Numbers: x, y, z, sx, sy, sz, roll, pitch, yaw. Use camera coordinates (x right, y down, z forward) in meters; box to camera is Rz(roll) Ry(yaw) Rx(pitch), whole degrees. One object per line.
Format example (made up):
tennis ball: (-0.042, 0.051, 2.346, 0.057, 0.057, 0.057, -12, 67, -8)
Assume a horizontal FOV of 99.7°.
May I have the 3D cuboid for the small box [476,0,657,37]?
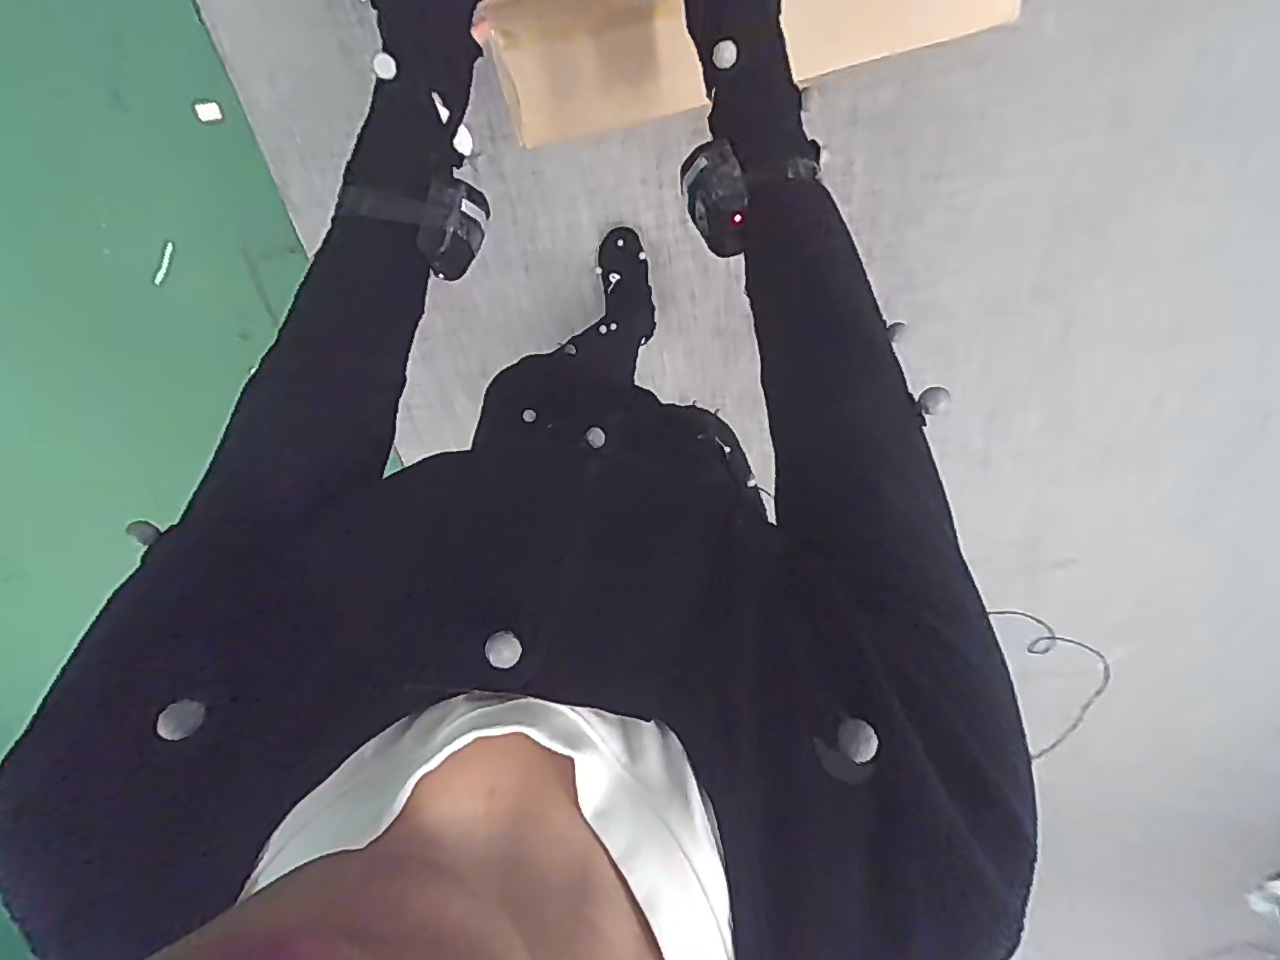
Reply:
small box: (-0.057, -0.492, 0.438, 0.179, 0.176, 0.168, -9, 122, 10)
